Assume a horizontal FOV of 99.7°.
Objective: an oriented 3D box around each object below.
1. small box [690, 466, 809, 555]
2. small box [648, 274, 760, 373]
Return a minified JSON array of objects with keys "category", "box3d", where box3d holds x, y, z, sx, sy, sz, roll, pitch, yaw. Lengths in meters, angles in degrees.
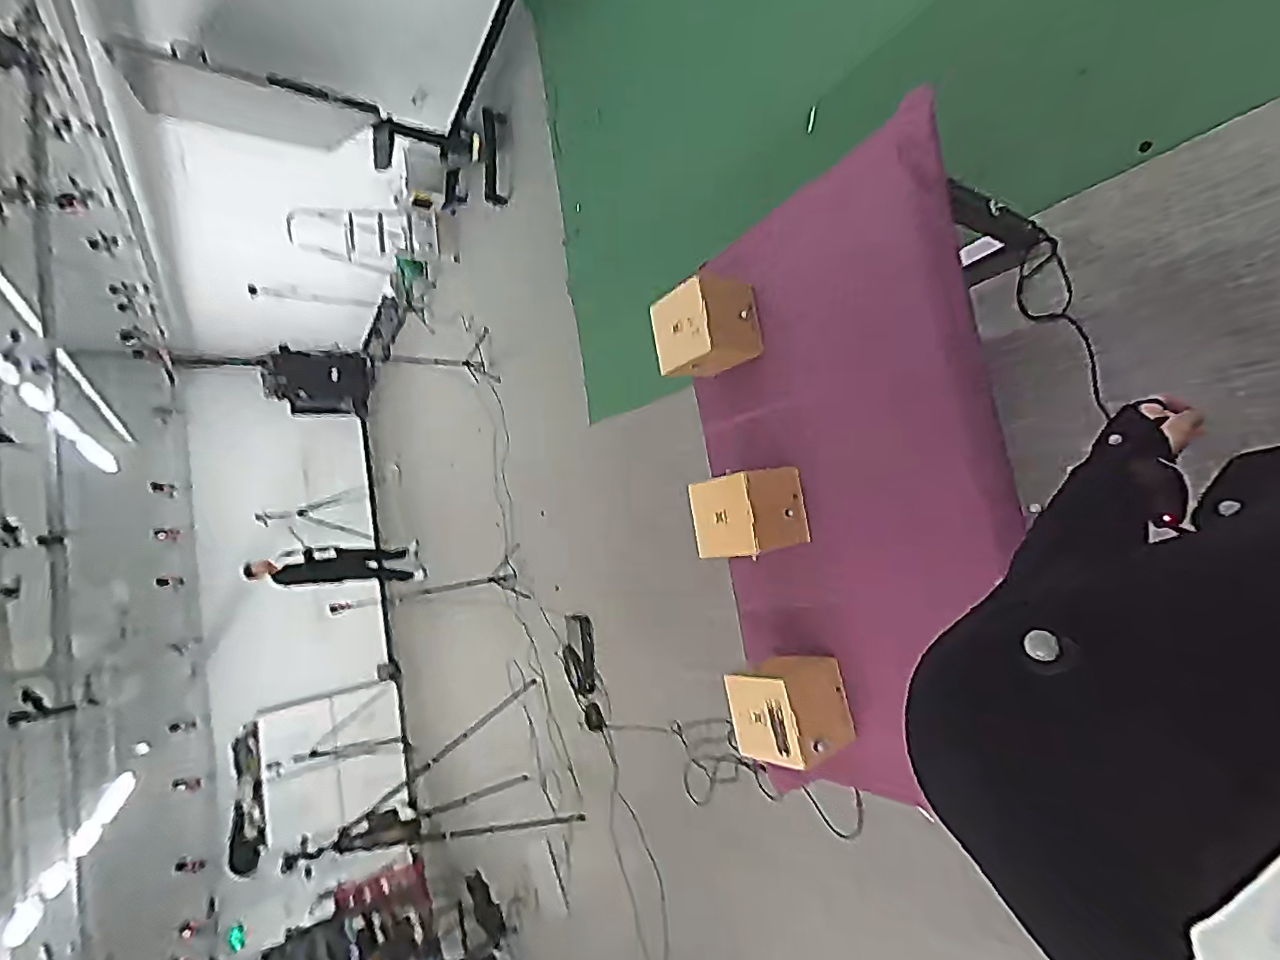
[{"category":"small box","box3d":[0.238,0.068,1.181,0.179,0.176,0.168,-17,81,52]},{"category":"small box","box3d":[0.146,-0.348,1.239,0.179,0.176,0.168,-15,85,53]}]
